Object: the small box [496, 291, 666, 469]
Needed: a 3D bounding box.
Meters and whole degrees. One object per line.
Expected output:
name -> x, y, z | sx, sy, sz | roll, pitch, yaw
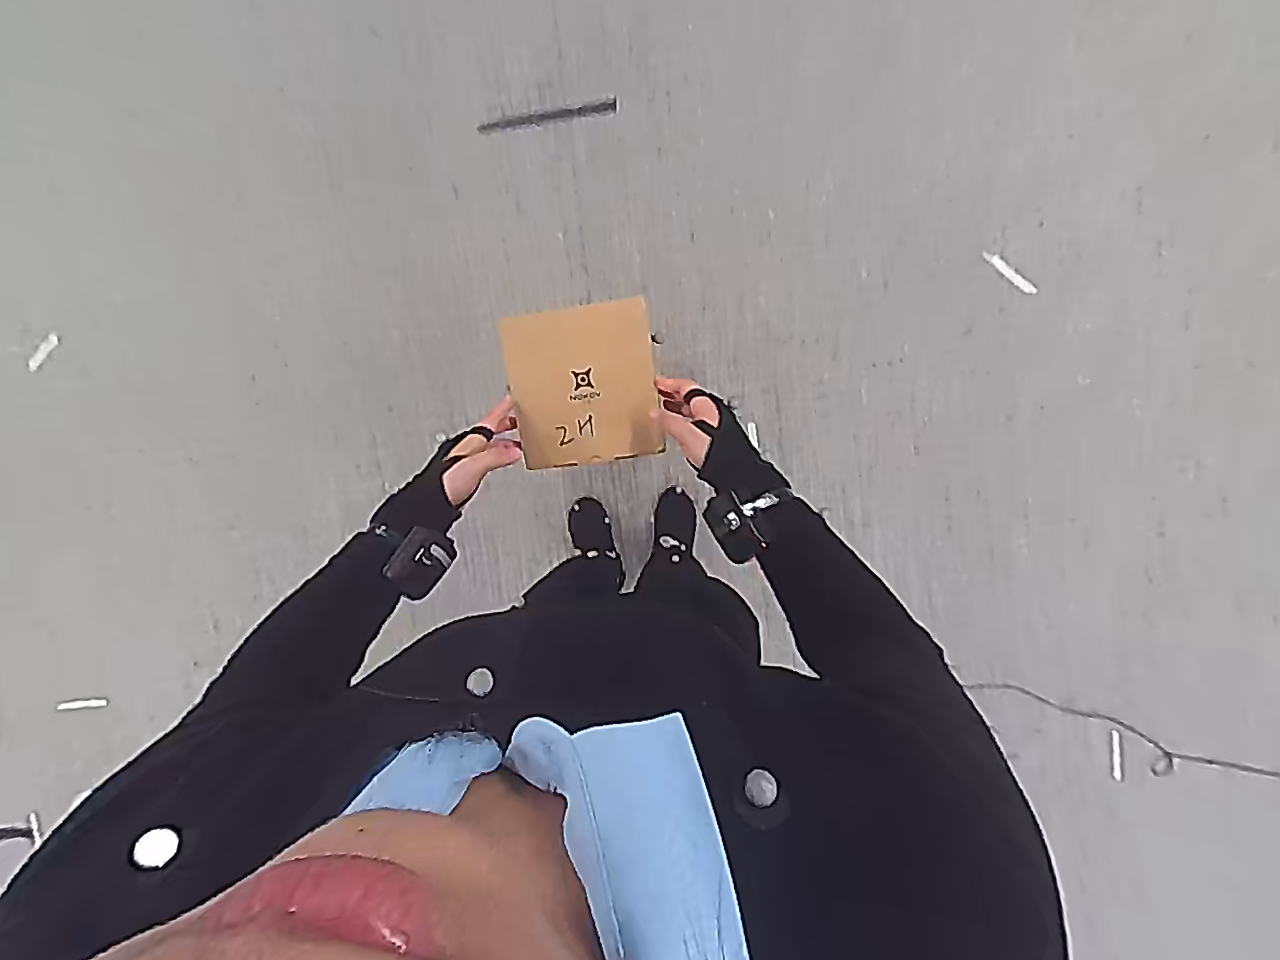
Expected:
small box -> -0.060, -0.122, 0.667 | 0.168, 0.176, 0.179 | -8, 103, 4
